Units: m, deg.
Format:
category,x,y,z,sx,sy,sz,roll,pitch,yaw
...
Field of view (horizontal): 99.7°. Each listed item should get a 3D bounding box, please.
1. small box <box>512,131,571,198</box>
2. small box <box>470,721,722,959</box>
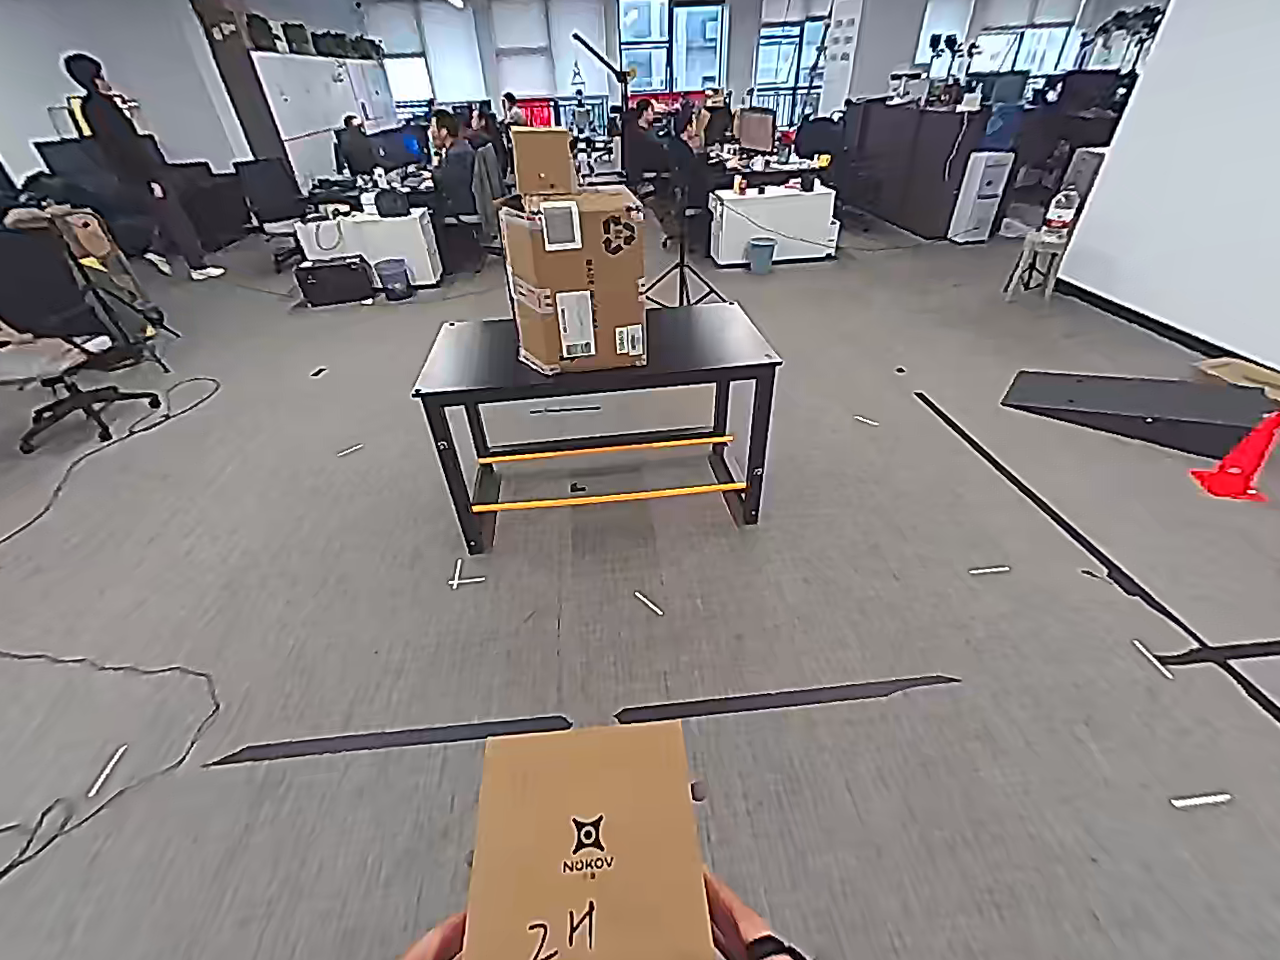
category,x,y,z,sx,sy,sz,roll,pitch,yaw
small box,-0.308,-0.984,1.682,0.168,0.176,0.179,-7,35,-10
small box,-0.034,0.328,0.450,0.168,0.176,0.179,-4,43,-3
